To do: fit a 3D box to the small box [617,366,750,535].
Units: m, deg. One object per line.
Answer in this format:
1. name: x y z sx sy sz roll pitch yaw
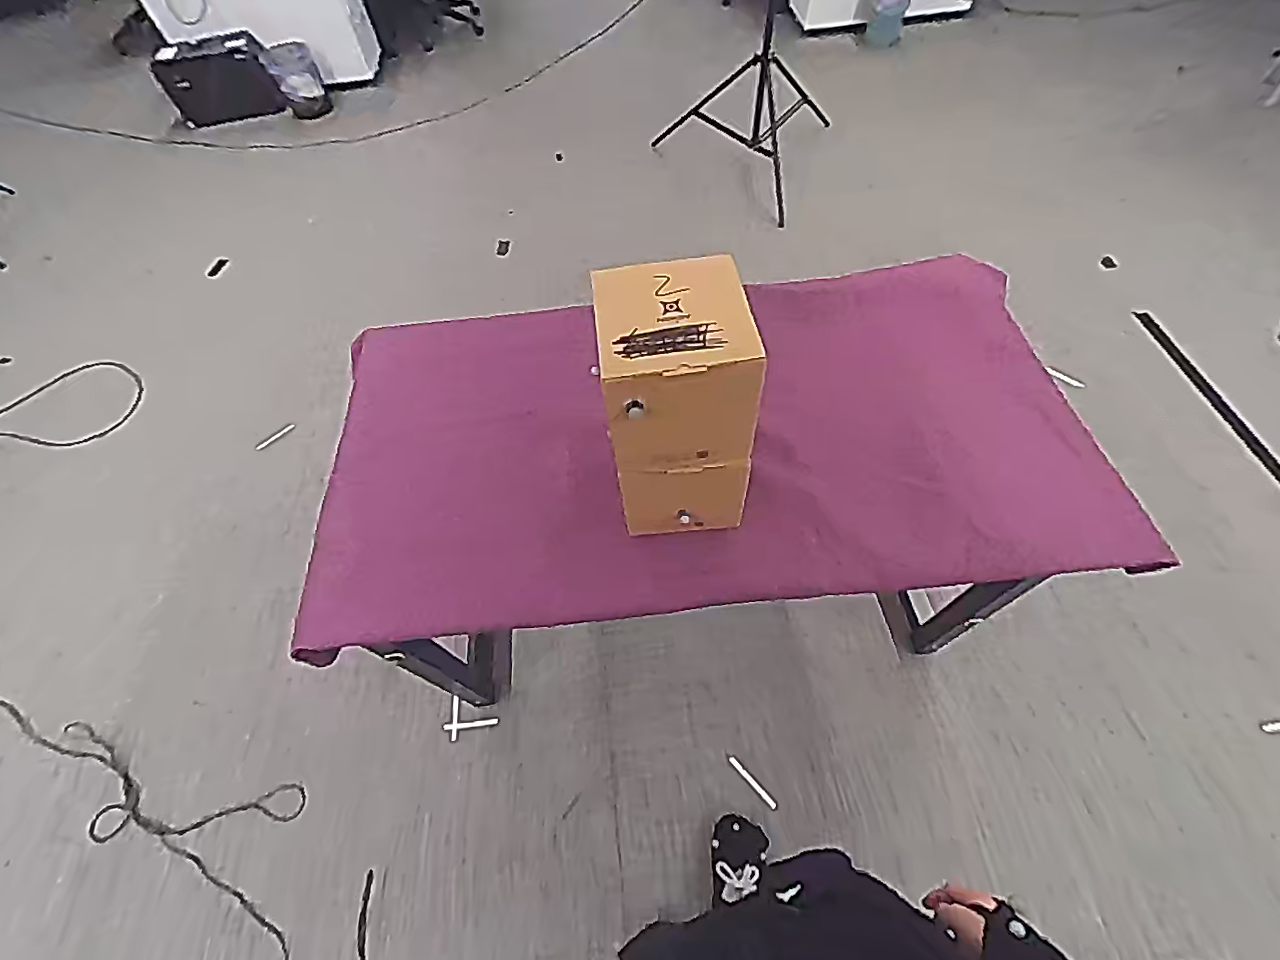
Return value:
1. small box: 0.056 -0.039 0.781 0.168 0.176 0.179 -5 57 2
